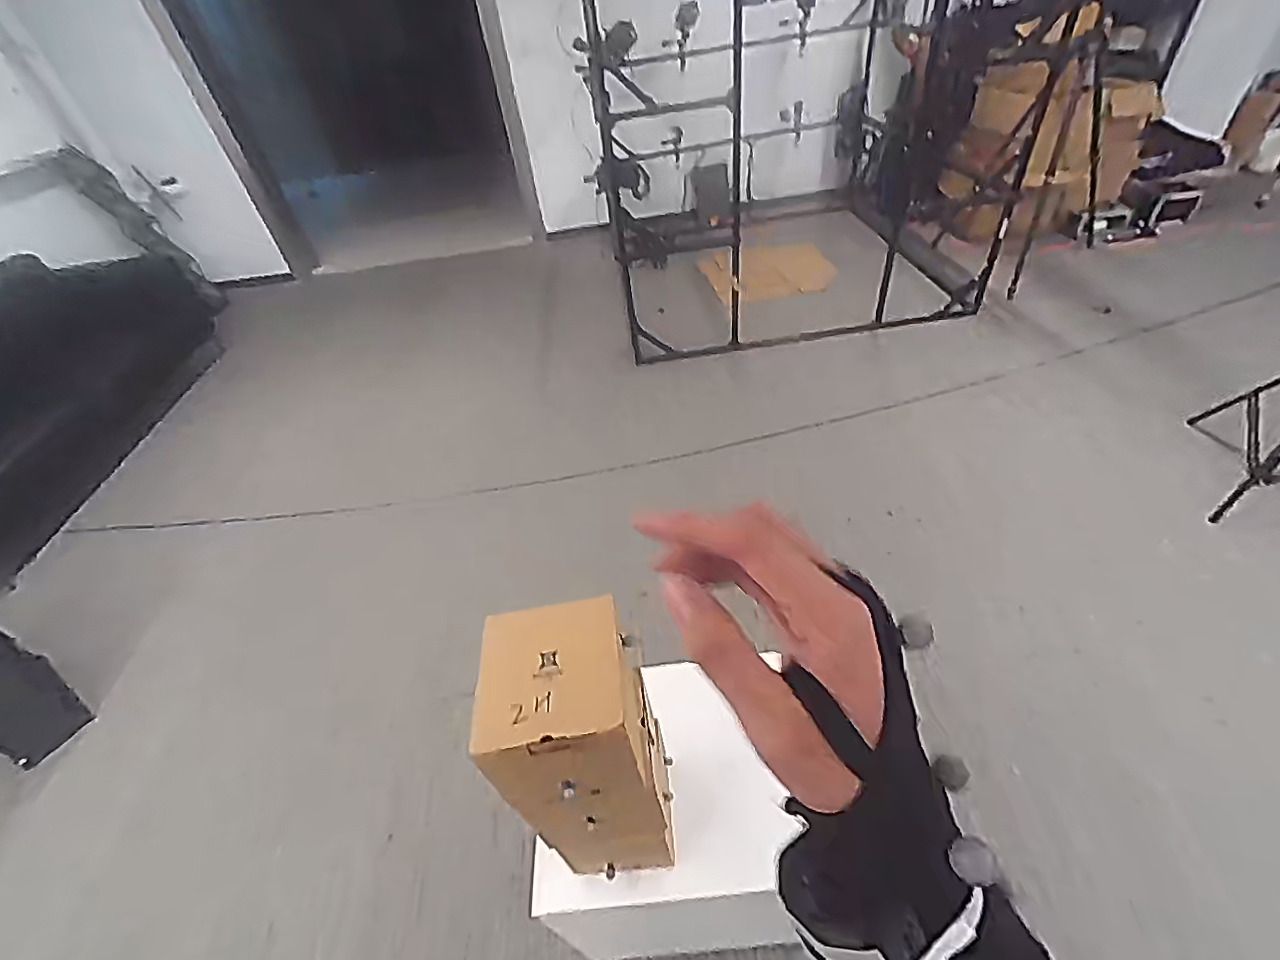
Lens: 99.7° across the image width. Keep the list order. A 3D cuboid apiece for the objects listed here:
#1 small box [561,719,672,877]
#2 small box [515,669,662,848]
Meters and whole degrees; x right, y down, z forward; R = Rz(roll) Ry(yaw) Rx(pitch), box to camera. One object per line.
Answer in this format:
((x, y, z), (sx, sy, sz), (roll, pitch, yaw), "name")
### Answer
((-0.040, 0.518, 0.882), (0.168, 0.176, 0.179), (-7, 42, 3), "small box")
((-0.066, 0.398, 0.773), (0.179, 0.176, 0.168), (-10, 41, 1), "small box")
